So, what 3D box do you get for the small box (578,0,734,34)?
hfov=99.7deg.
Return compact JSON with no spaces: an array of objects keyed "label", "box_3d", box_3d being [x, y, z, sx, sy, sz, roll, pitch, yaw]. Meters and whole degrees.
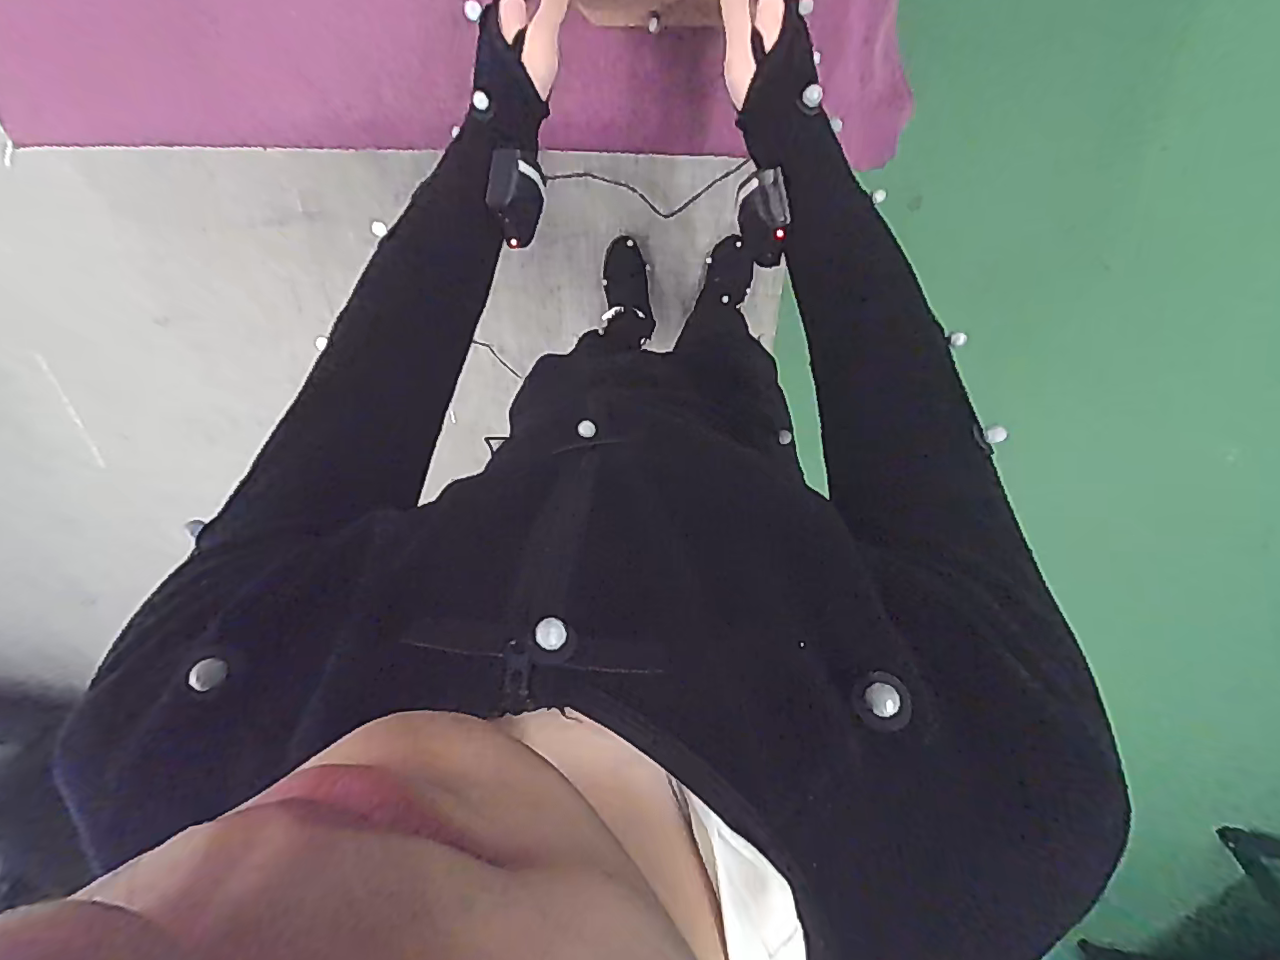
[{"label":"small box","box_3d":[0.014,-0.552,0.507,0.168,0.176,0.179,7,119,7]}]
